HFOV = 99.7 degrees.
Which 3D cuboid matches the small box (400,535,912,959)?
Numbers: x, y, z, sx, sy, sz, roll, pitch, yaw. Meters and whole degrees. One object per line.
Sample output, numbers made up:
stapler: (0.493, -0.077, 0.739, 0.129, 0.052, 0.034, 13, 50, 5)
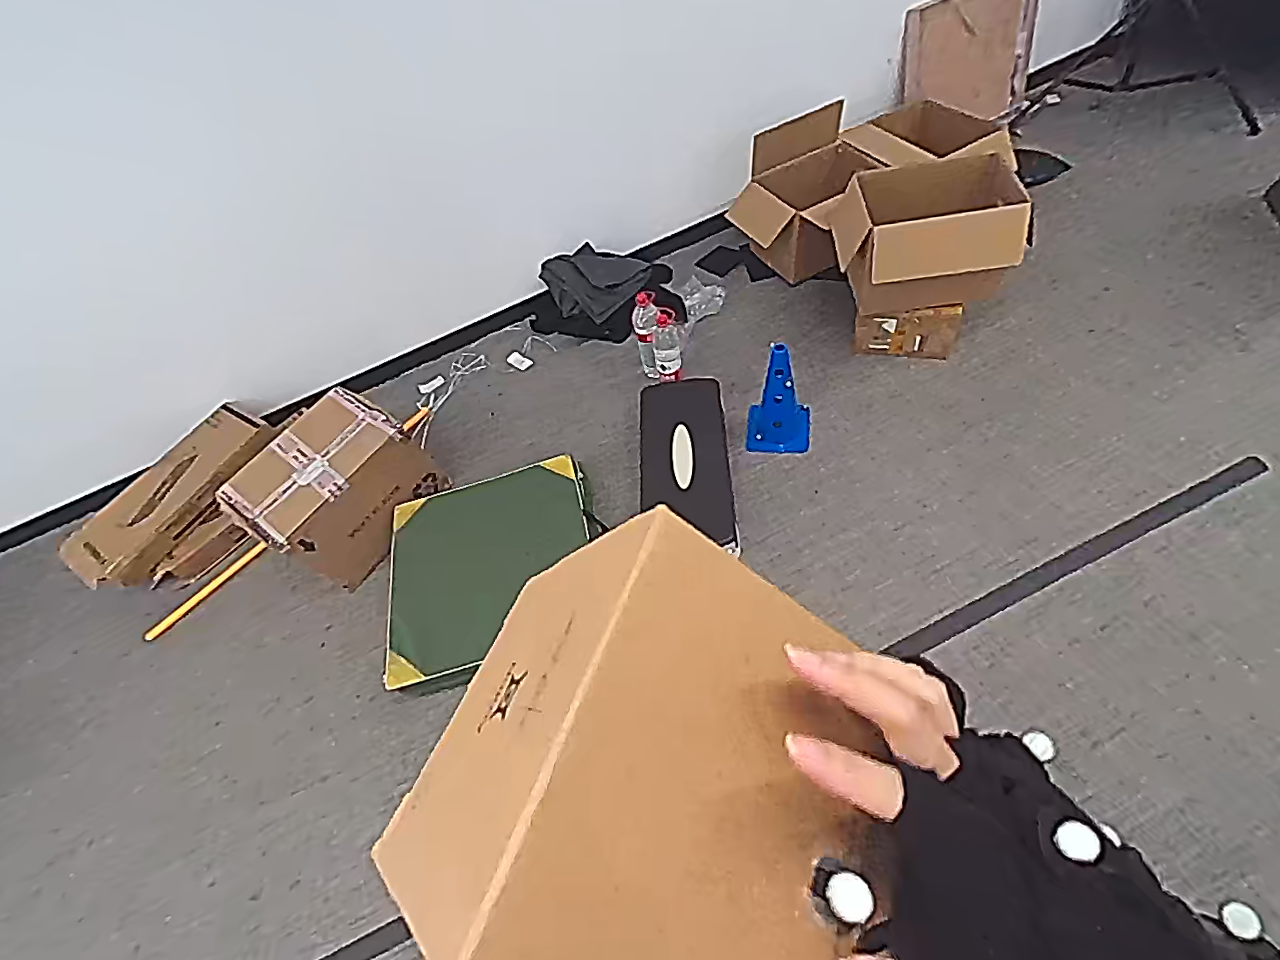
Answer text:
small box: (0.007, 0.160, 0.288, 0.176, 0.179, 0.168, 37, 55, -14)
